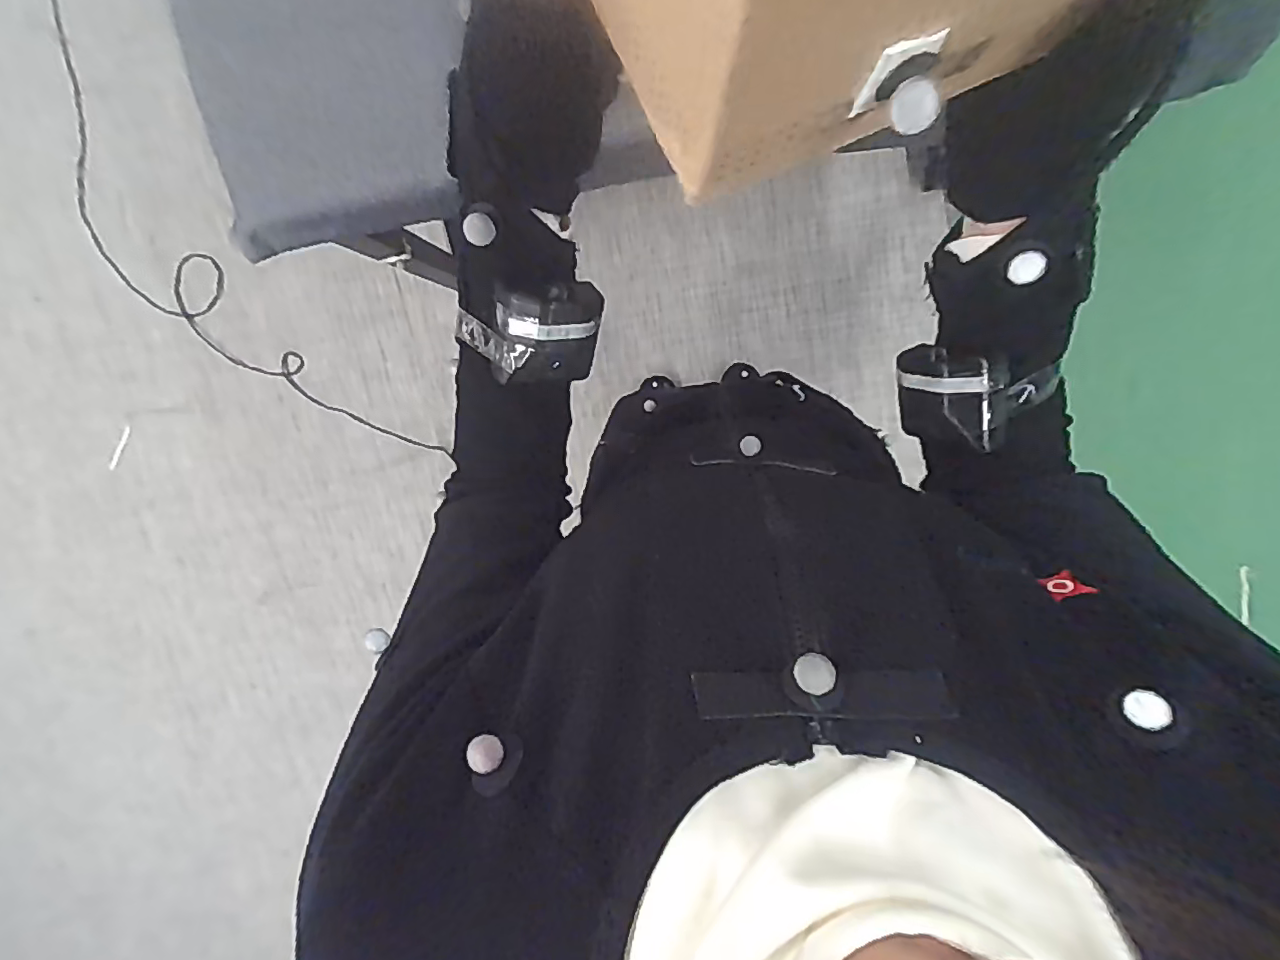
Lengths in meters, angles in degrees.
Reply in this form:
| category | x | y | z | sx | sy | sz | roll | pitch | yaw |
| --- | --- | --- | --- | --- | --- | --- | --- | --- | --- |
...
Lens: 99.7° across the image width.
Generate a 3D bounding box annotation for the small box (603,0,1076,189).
| category | x | y | z | sx | sy | sz | roll | pitch | yaw |
| --- | --- | --- | --- | --- | --- | --- | --- | --- | --- |
| small box | 0.060 | -0.224 | 0.140 | 0.168 | 0.176 | 0.179 | -27 | 90 | -1 |
